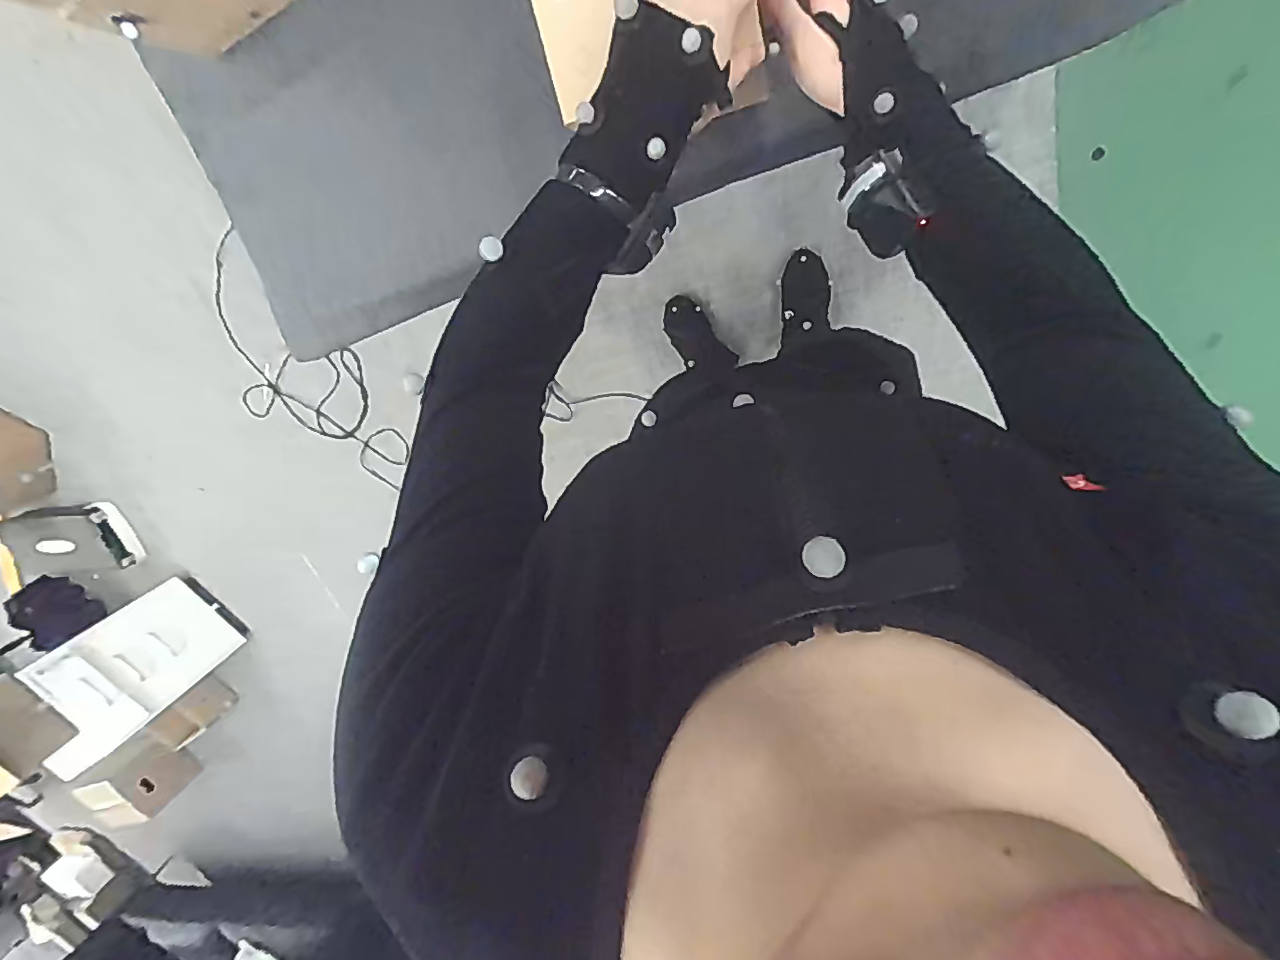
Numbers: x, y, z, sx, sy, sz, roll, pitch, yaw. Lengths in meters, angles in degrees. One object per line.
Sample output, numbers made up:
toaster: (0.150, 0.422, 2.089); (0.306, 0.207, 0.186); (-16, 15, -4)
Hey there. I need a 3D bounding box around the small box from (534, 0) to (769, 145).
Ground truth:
small box: (0.016, -0.423, 0.483); (0.179, 0.176, 0.168); (-7, 113, 18)
